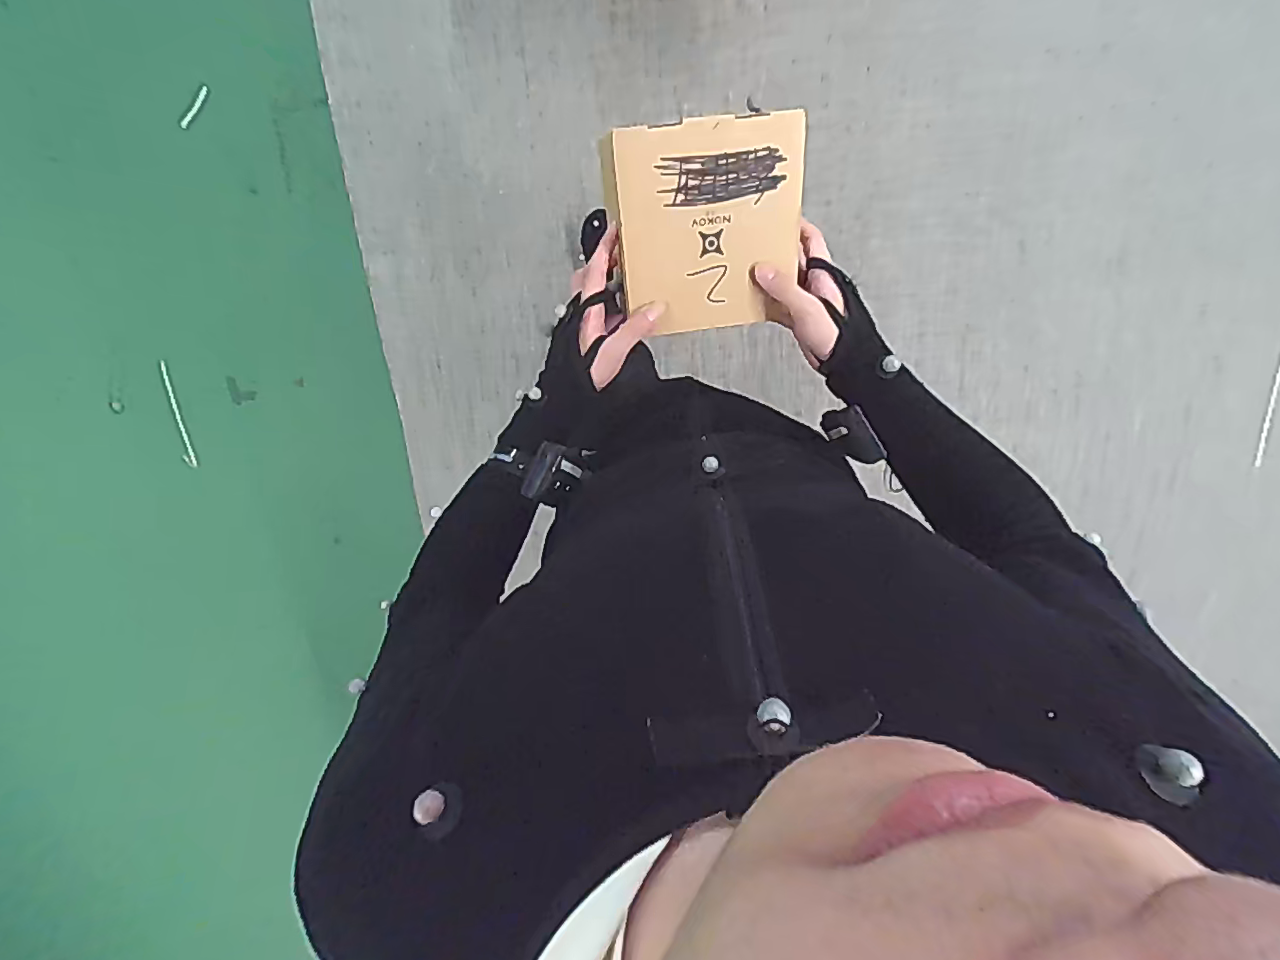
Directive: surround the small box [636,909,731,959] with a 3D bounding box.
[{"bbox_3d":[0.095,1.037,1.125,0.168,0.176,0.179,-23,106,8],"label":"small box"}]
